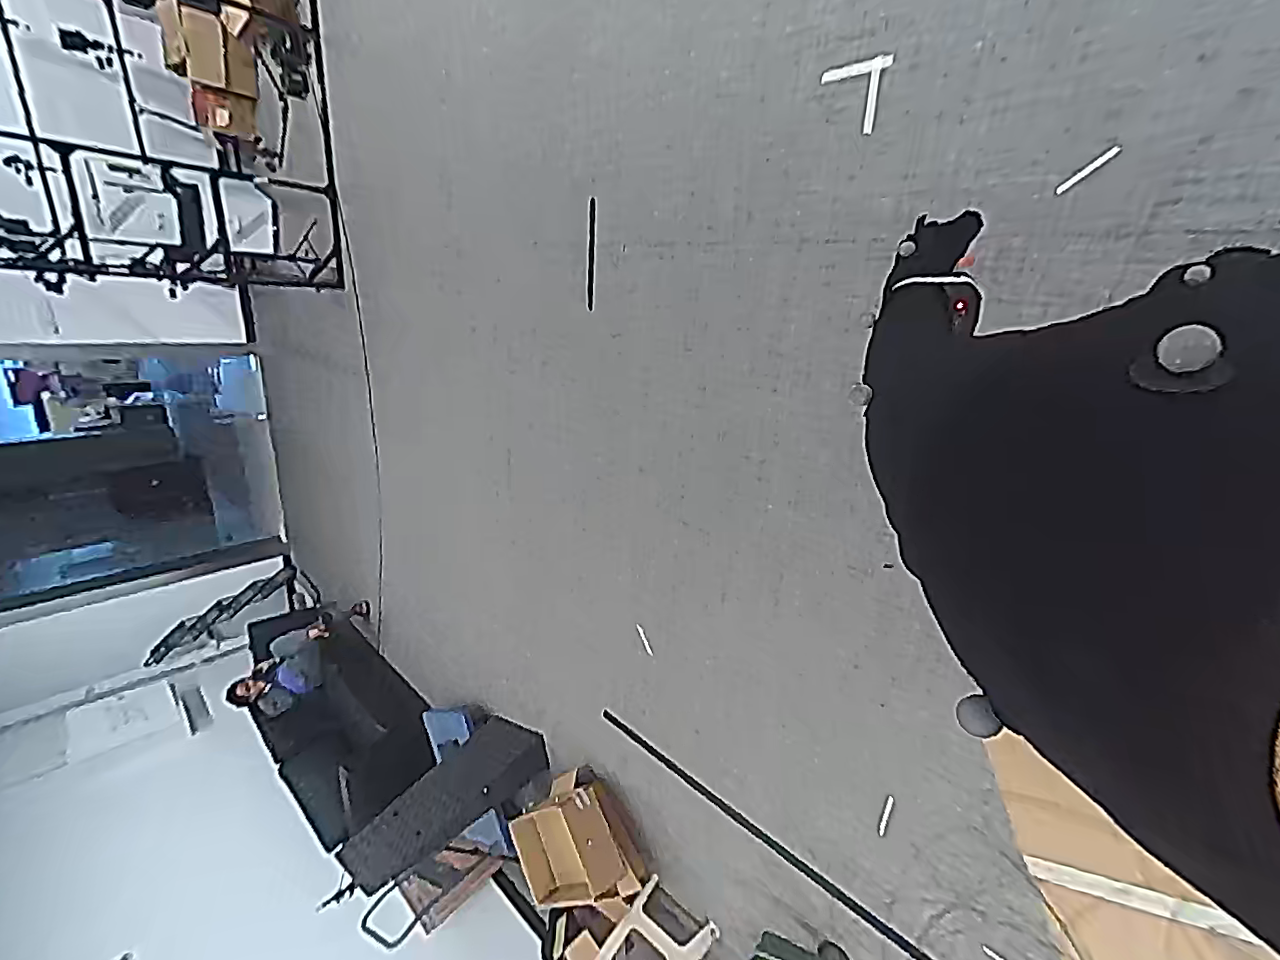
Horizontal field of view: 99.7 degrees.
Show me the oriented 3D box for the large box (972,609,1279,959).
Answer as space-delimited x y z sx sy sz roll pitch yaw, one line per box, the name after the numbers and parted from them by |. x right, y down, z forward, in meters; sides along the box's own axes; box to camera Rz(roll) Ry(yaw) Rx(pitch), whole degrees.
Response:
0.641 0.315 0.525 0.408 0.320 0.320 -25 79 55 | large box
